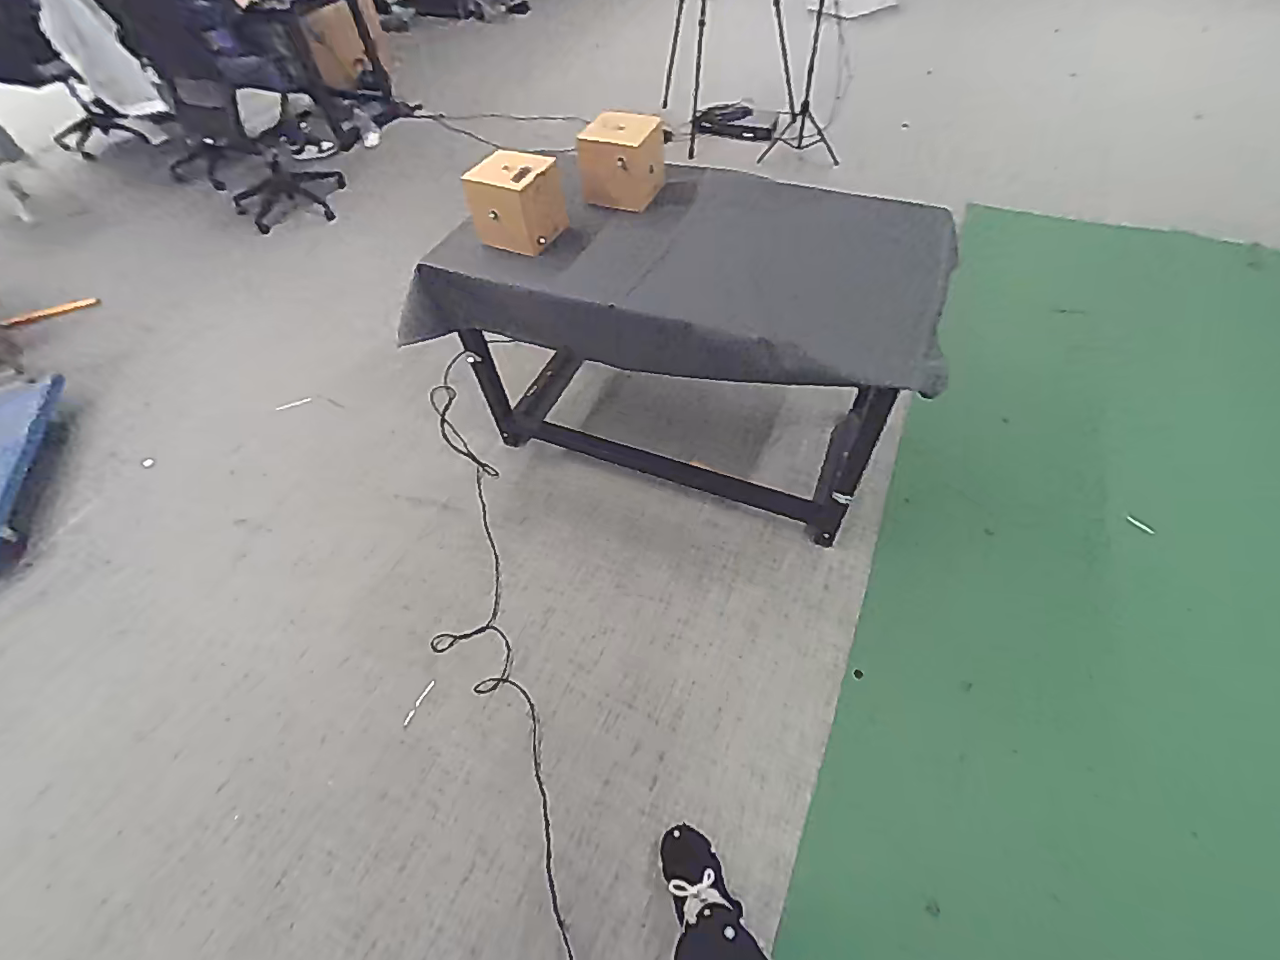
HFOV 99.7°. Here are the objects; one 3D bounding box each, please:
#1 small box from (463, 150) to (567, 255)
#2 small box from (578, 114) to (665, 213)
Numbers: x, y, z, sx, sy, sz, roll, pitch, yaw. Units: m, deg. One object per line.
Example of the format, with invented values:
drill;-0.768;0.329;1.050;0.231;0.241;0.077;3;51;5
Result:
small box;-0.302;-0.690;1.354;0.179;0.176;0.168;21;58;19
small box;-0.041;-0.841;1.441;0.179;0.176;0.168;19;58;17
